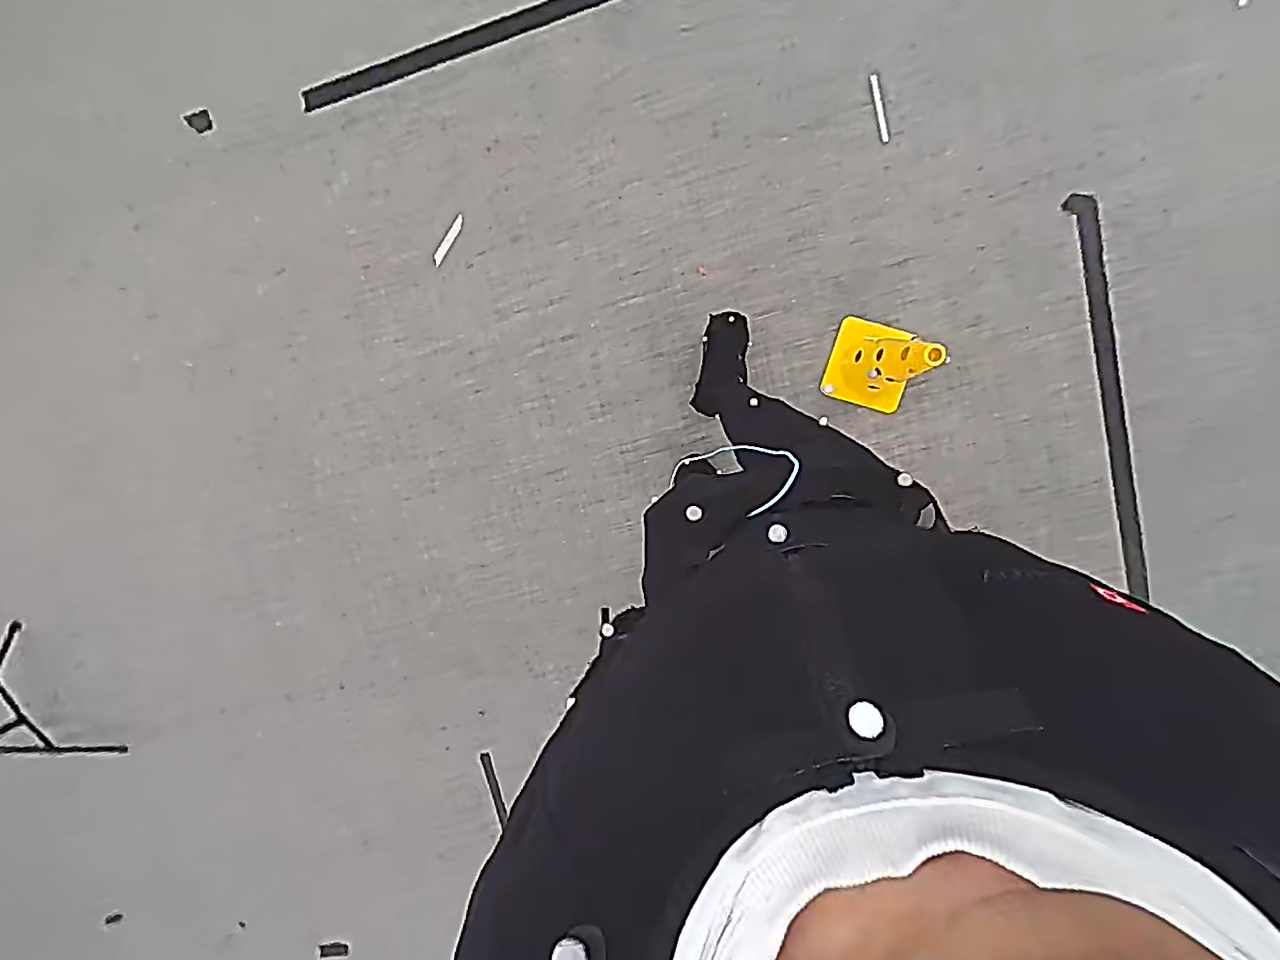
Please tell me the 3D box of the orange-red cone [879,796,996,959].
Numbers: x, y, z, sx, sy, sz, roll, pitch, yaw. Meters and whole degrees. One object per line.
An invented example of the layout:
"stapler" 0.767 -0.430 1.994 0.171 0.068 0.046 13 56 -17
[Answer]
"orange-red cone" 0.770 1.009 1.357 0.198 0.360 0.199 -8 97 4
